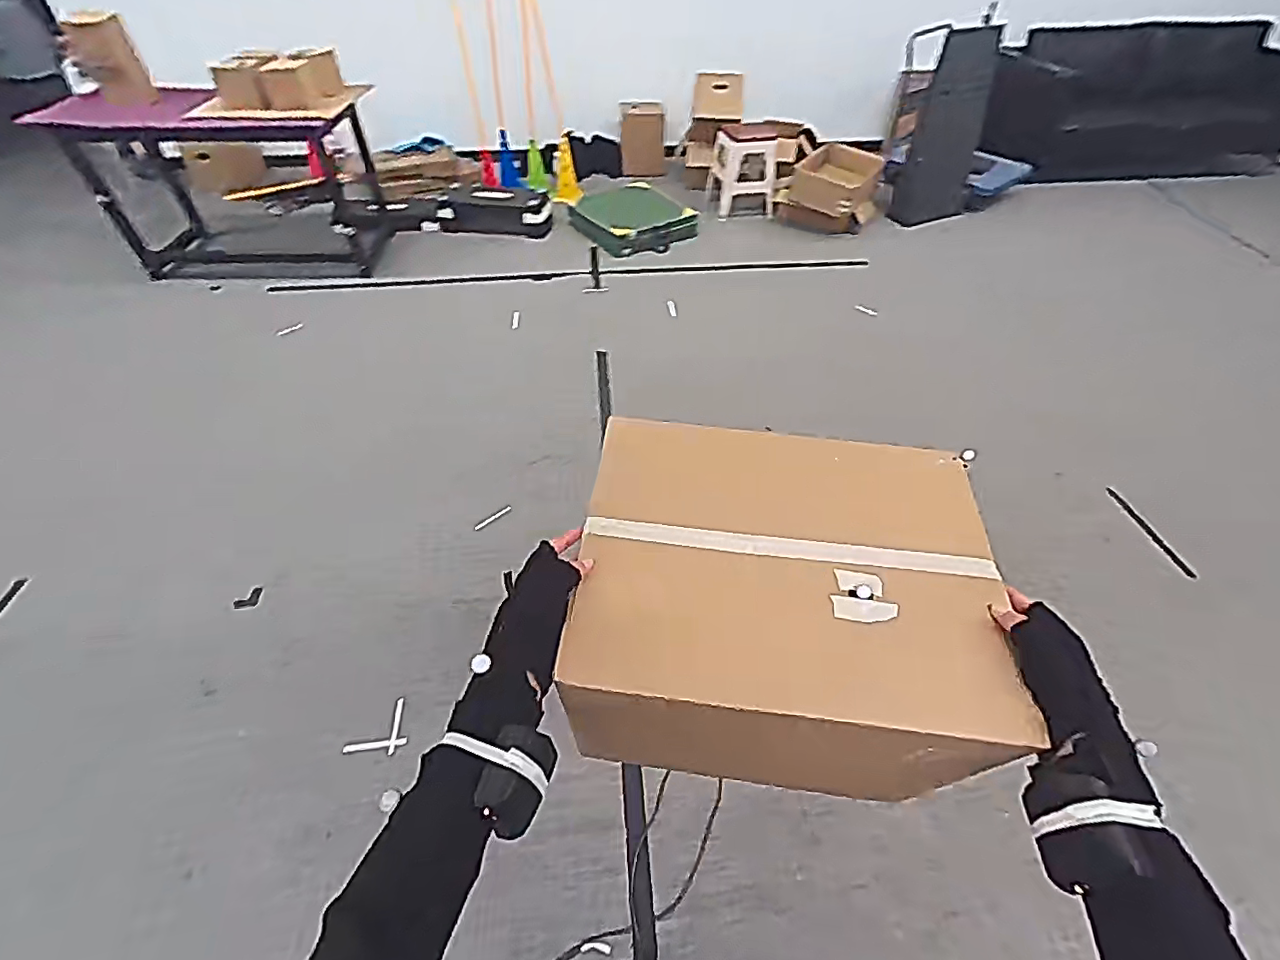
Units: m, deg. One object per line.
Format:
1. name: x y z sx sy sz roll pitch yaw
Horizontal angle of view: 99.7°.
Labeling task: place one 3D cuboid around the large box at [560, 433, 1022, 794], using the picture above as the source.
1. large box: 0.136 0.170 0.668 0.408 0.320 0.320 6 53 3
